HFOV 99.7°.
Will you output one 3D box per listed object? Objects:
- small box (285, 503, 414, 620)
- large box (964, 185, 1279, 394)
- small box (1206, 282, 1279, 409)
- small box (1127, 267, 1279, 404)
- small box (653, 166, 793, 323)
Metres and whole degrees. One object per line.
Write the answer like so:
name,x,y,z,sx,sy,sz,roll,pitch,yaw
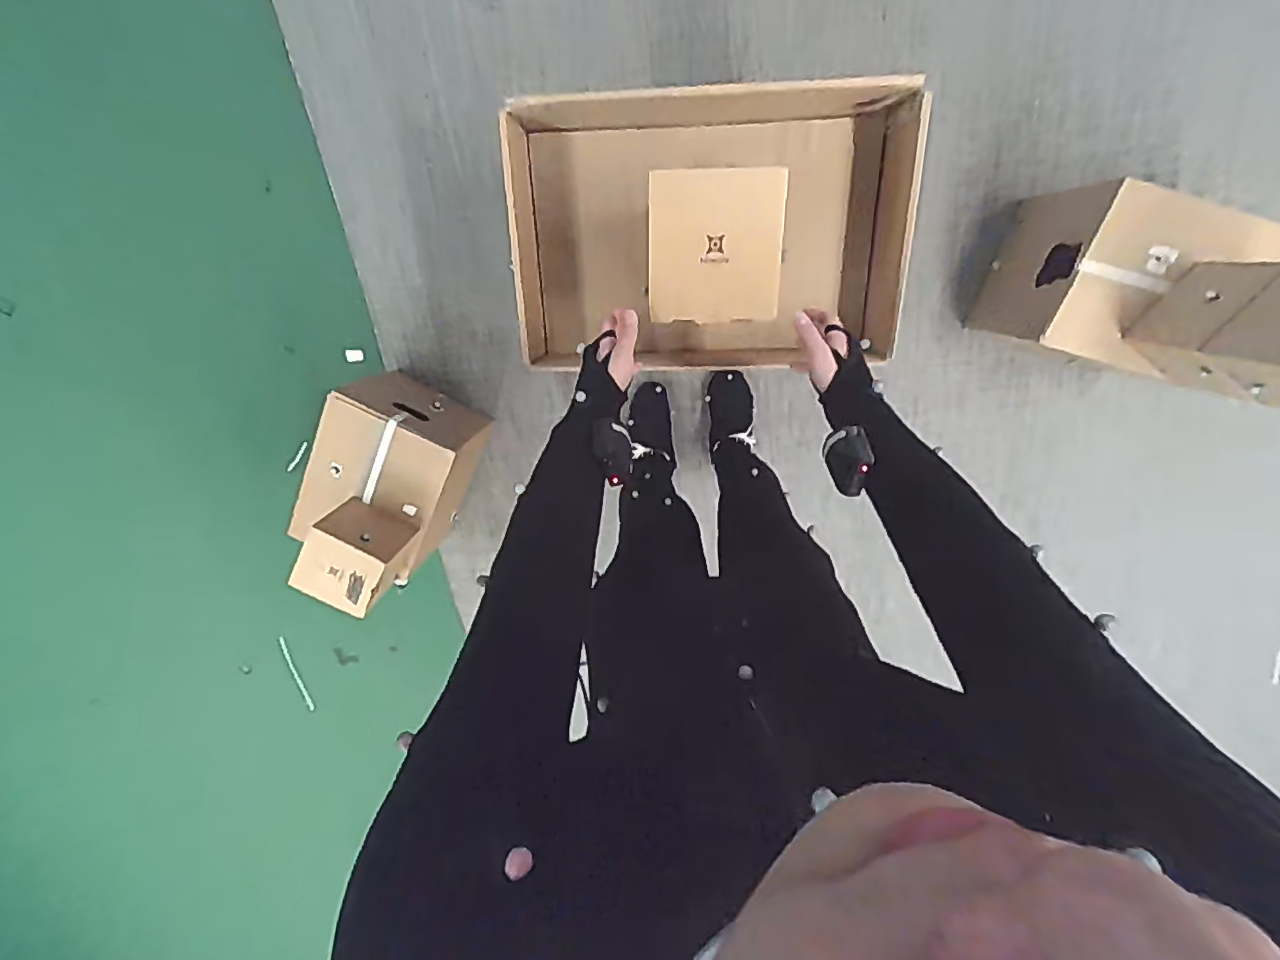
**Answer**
small box,-0.648,0.177,1.228,0.179,0.176,0.168,30,108,-8
large box,1.041,-0.412,1.194,0.408,0.320,0.320,15,110,-2
small box,1.062,-0.209,0.829,0.168,0.176,0.179,33,110,-9
small box,1.068,-0.270,0.984,0.168,0.176,0.179,34,109,-9
small box,0.101,-0.310,0.733,0.168,0.176,0.179,1,111,4
